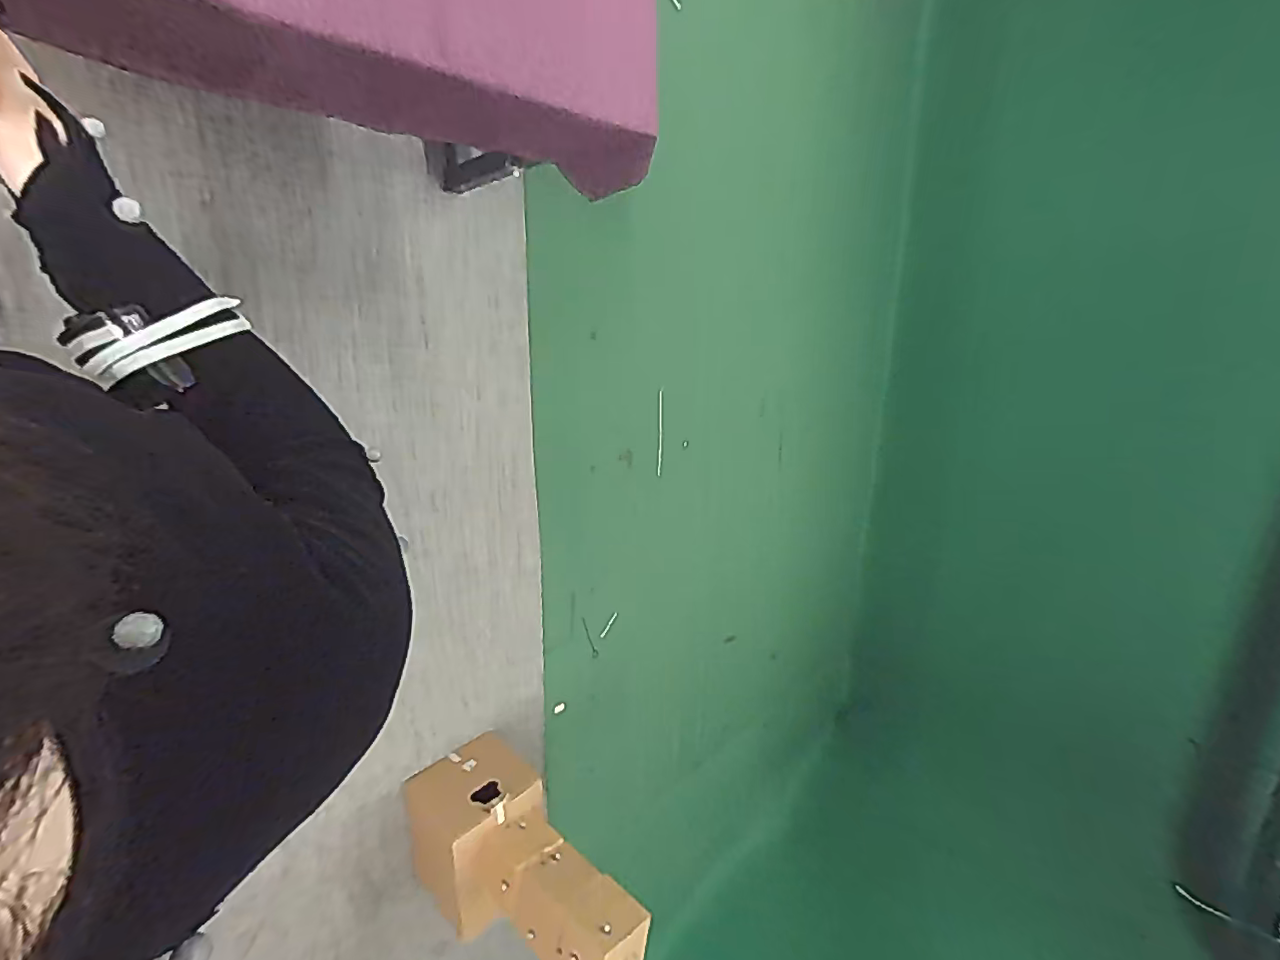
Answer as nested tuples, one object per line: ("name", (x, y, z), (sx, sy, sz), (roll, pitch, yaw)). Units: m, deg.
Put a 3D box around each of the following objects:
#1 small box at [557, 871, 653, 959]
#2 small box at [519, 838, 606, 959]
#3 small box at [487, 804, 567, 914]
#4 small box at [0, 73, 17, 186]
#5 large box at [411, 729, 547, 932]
("small box", (-0.094, 1.189, 1.421), (0.179, 0.176, 0.168), (4, 97, -49))
("small box", (-0.221, 1.165, 1.523), (0.168, 0.176, 0.179), (3, 97, -49))
("small box", (-0.343, 1.128, 1.624), (0.168, 0.176, 0.179), (-2, 102, -48))
("small box", (-0.463, -0.279, 0.273), (0.168, 0.176, 0.179), (-12, 104, -42))
("large box", (-0.524, 1.134, 1.794), (0.320, 0.320, 0.408), (-17, 114, -44))
